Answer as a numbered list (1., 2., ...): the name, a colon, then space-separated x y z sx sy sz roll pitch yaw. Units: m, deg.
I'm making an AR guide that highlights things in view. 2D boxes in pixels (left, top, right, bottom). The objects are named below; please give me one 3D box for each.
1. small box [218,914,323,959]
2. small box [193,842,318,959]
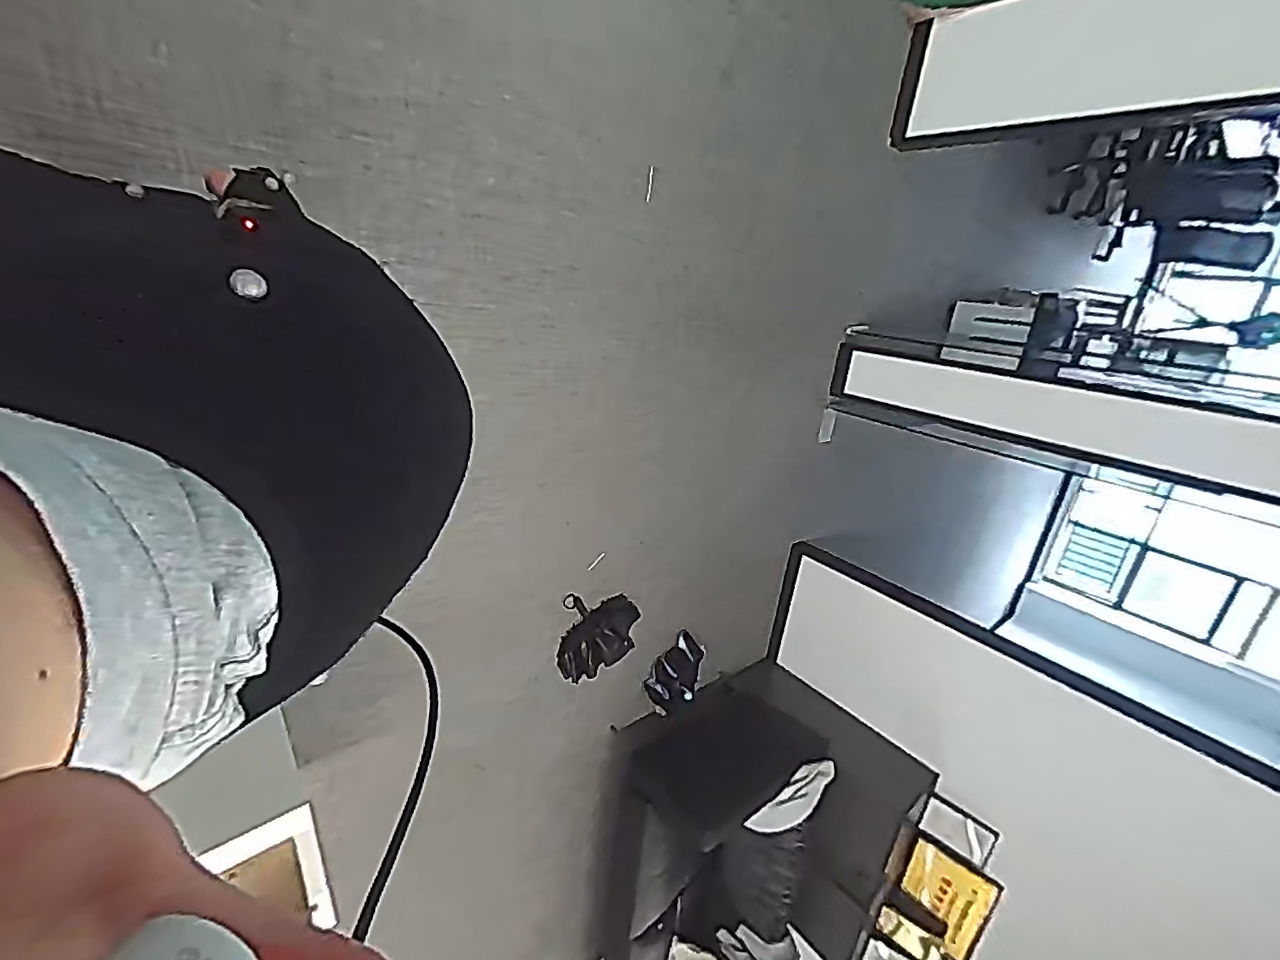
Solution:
1. small box: -0.614 0.889 0.898 0.168 0.176 0.179 -16 119 -38
2. small box: -0.716 0.840 1.016 0.168 0.176 0.179 -14 119 -37
